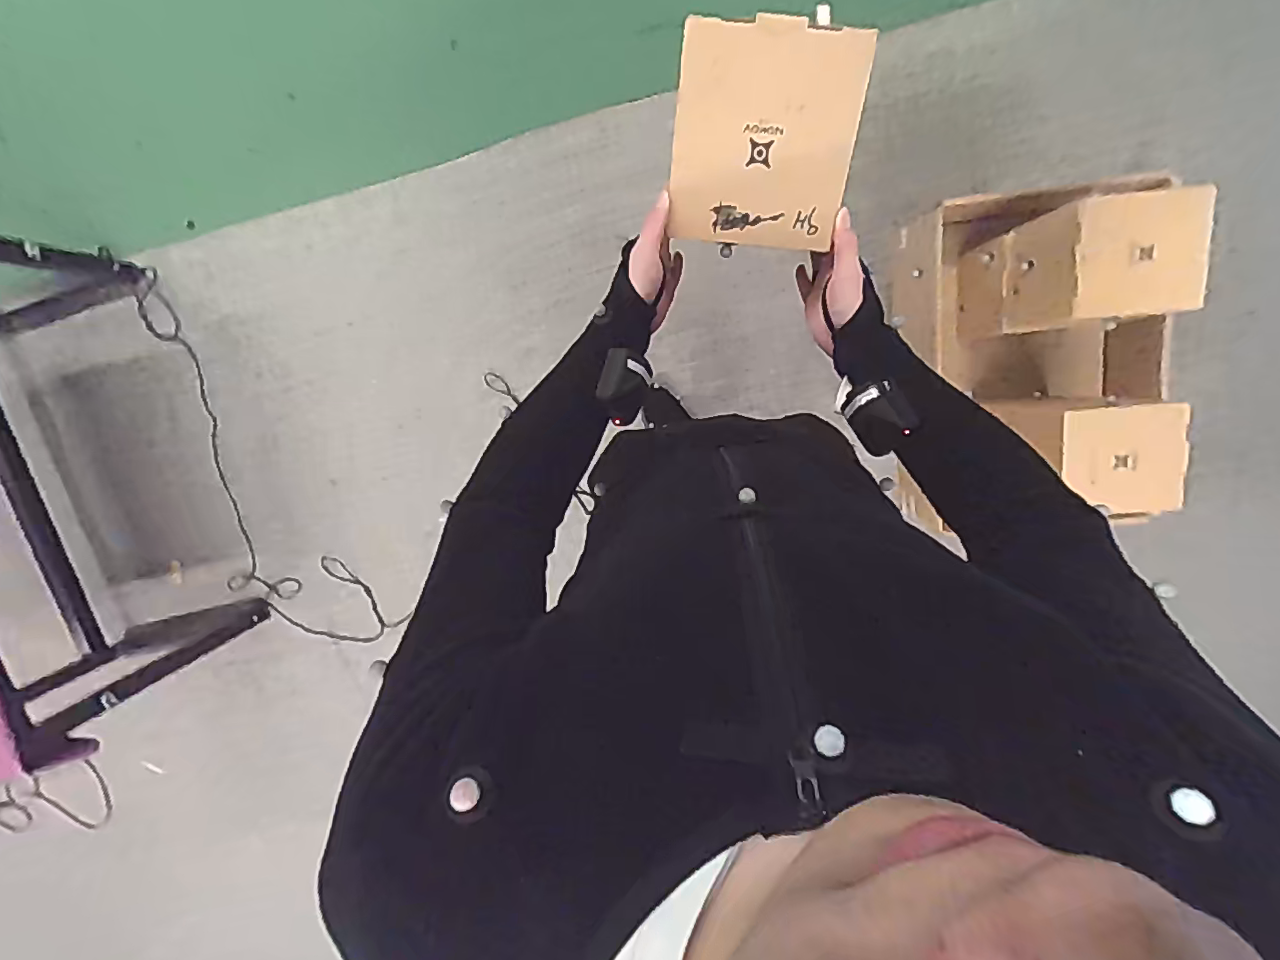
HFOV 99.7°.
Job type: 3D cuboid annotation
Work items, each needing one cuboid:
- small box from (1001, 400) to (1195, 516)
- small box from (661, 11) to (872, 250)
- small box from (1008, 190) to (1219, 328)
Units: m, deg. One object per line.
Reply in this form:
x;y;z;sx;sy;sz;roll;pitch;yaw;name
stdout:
0.738;-0.042;0.891;0.179;0.176;0.168;-3;100;6;small box
0.116;-0.348;0.567;0.168;0.176;0.179;7;117;3;small box
0.717;-0.332;0.840;0.179;0.176;0.168;-3;101;5;small box
